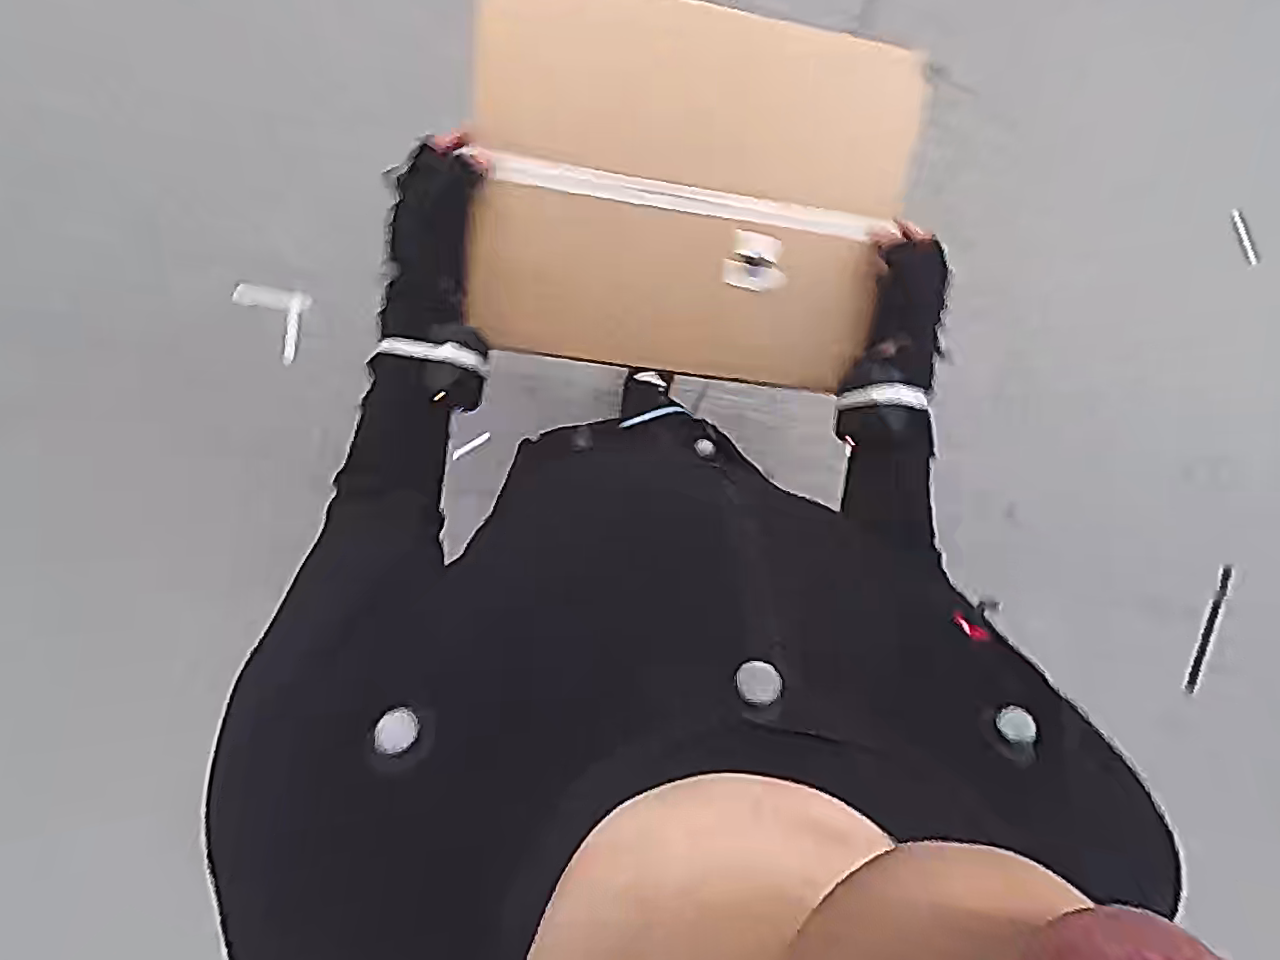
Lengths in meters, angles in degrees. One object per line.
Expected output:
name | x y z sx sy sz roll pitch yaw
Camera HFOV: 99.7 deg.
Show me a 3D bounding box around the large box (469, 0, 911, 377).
large box | 0.027 -0.307 0.658 0.408 0.320 0.320 6 103 -8
